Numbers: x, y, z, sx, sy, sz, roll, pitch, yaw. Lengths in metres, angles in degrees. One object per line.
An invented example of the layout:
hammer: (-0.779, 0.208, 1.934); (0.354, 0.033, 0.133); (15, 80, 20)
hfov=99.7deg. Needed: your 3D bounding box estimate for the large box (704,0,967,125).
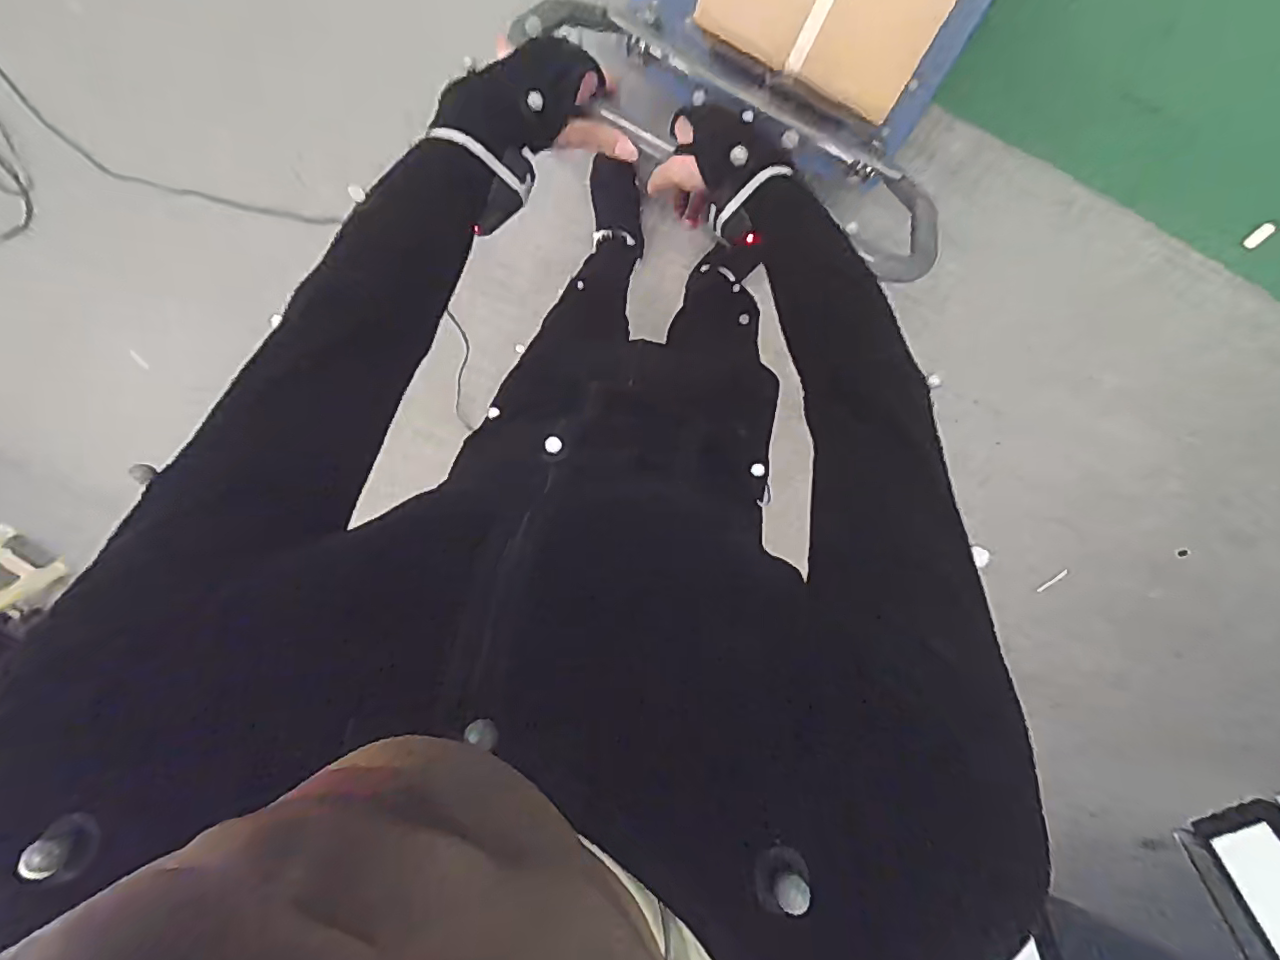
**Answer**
large box: (0.326, -0.794, 0.775); (0.320, 0.320, 0.408); (25, 125, -5)
